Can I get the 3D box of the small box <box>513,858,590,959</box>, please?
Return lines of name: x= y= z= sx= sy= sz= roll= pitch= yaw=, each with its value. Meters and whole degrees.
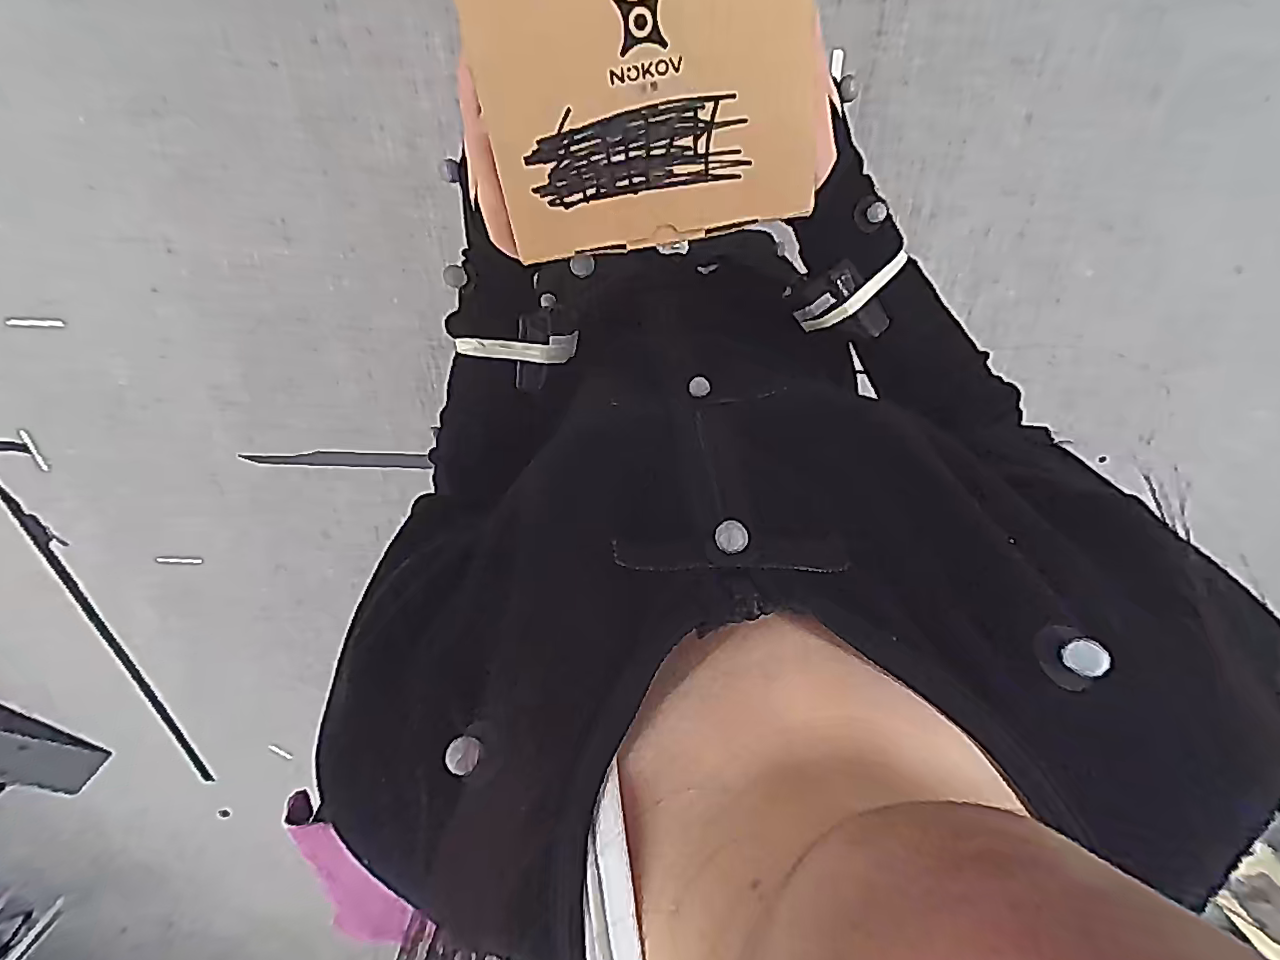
small box: x=-0.212 y=1.068 z=1.332 sx=0.168 sy=0.176 sz=0.179 roll=2 pitch=121 yaw=-2
